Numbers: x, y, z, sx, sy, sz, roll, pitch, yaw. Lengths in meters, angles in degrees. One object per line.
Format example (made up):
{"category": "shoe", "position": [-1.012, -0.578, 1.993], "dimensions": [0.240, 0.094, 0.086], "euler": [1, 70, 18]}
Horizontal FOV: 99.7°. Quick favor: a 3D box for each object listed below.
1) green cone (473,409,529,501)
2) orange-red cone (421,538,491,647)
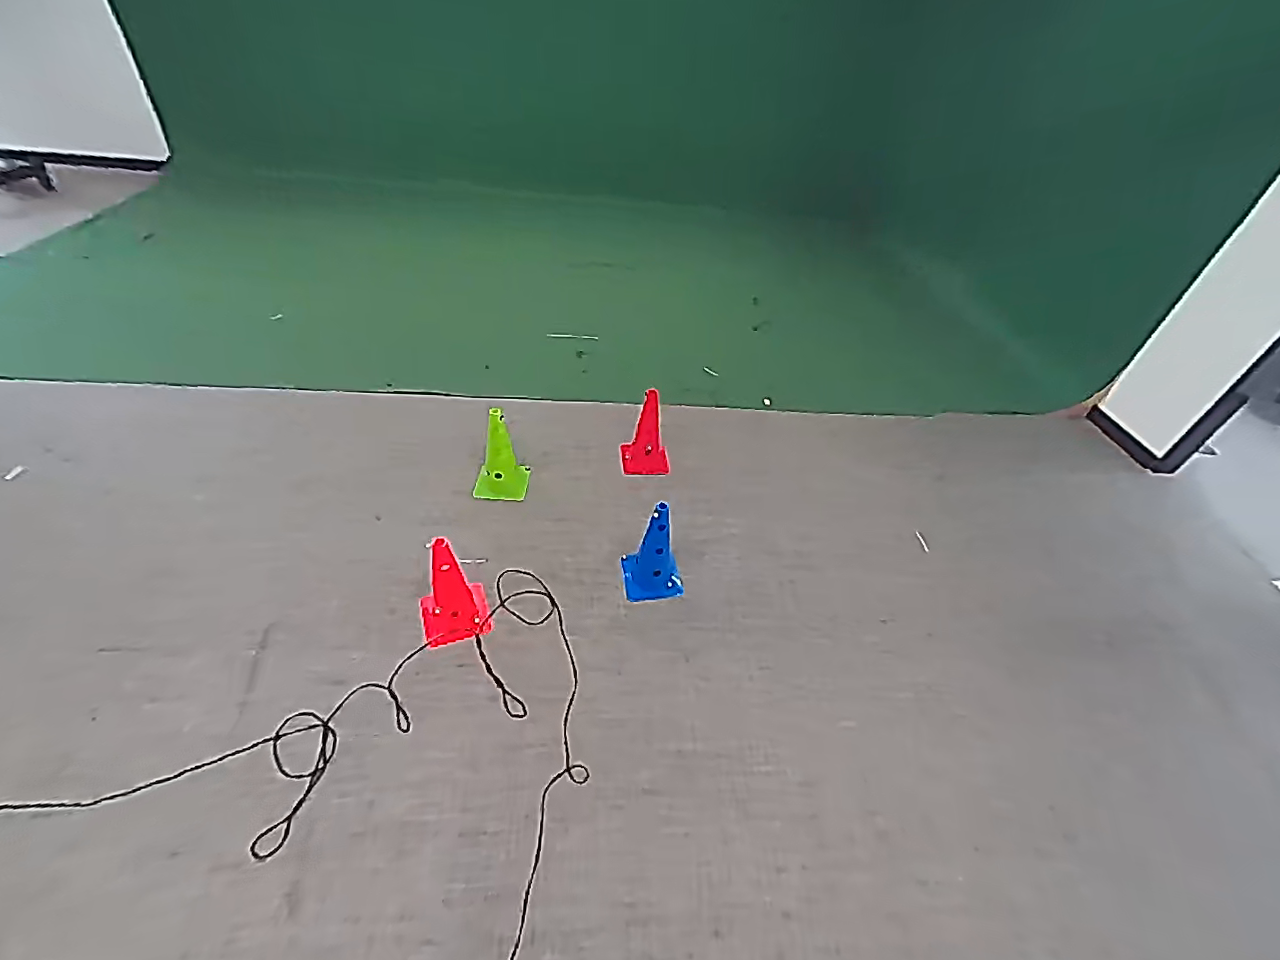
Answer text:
{"category": "green cone", "position": [-0.546, -0.116, 2.068], "dimensions": [0.200, 0.368, 0.202], "euler": [3, 43, -4]}
{"category": "orange-red cone", "position": [-0.570, 0.303, 1.610], "dimensions": [0.198, 0.360, 0.199], "euler": [-11, 44, -20]}
